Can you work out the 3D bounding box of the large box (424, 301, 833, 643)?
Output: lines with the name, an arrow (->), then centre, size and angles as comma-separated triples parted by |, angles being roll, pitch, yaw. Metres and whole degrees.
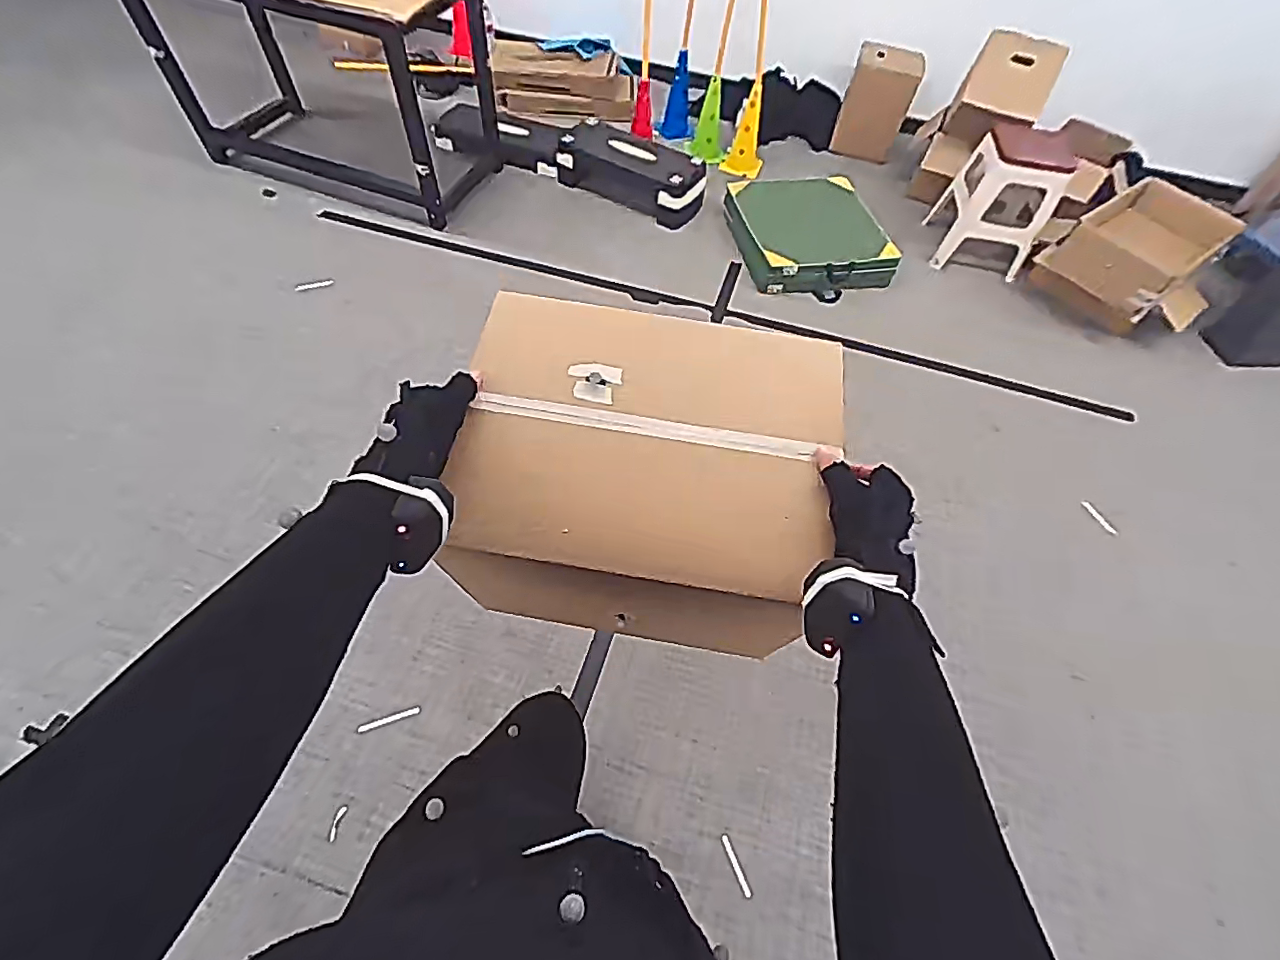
large box -> 0.006, 0.011, 0.712 | 0.408, 0.320, 0.320 | 9, 64, 3
